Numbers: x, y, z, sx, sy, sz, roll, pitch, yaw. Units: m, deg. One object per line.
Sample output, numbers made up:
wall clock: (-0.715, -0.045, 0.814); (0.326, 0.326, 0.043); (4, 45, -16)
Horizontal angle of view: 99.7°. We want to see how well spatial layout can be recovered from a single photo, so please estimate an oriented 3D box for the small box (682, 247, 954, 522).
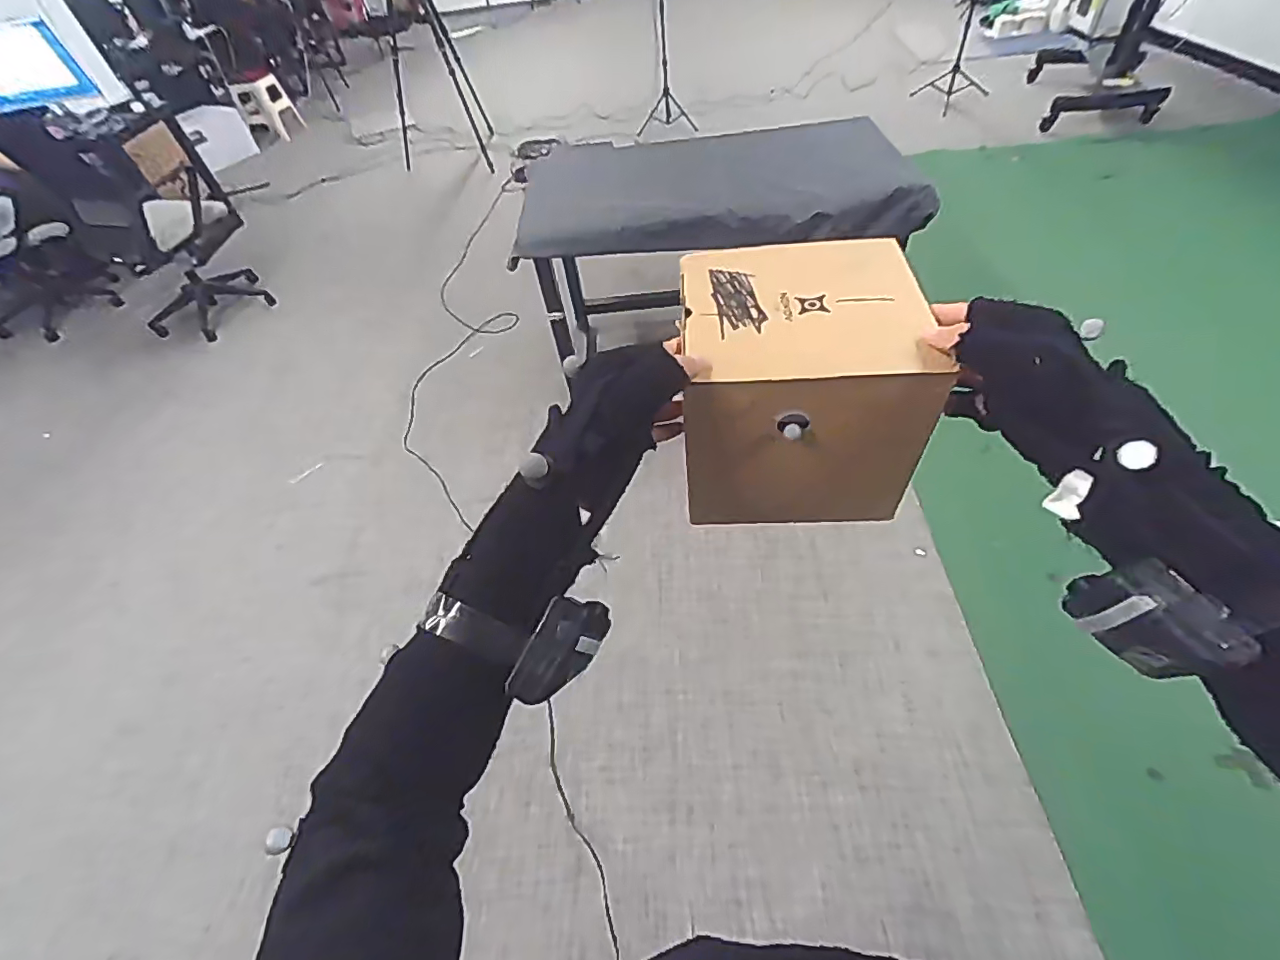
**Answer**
small box: (0.128, -0.075, 0.463); (0.179, 0.176, 0.168); (-1, 51, 6)
